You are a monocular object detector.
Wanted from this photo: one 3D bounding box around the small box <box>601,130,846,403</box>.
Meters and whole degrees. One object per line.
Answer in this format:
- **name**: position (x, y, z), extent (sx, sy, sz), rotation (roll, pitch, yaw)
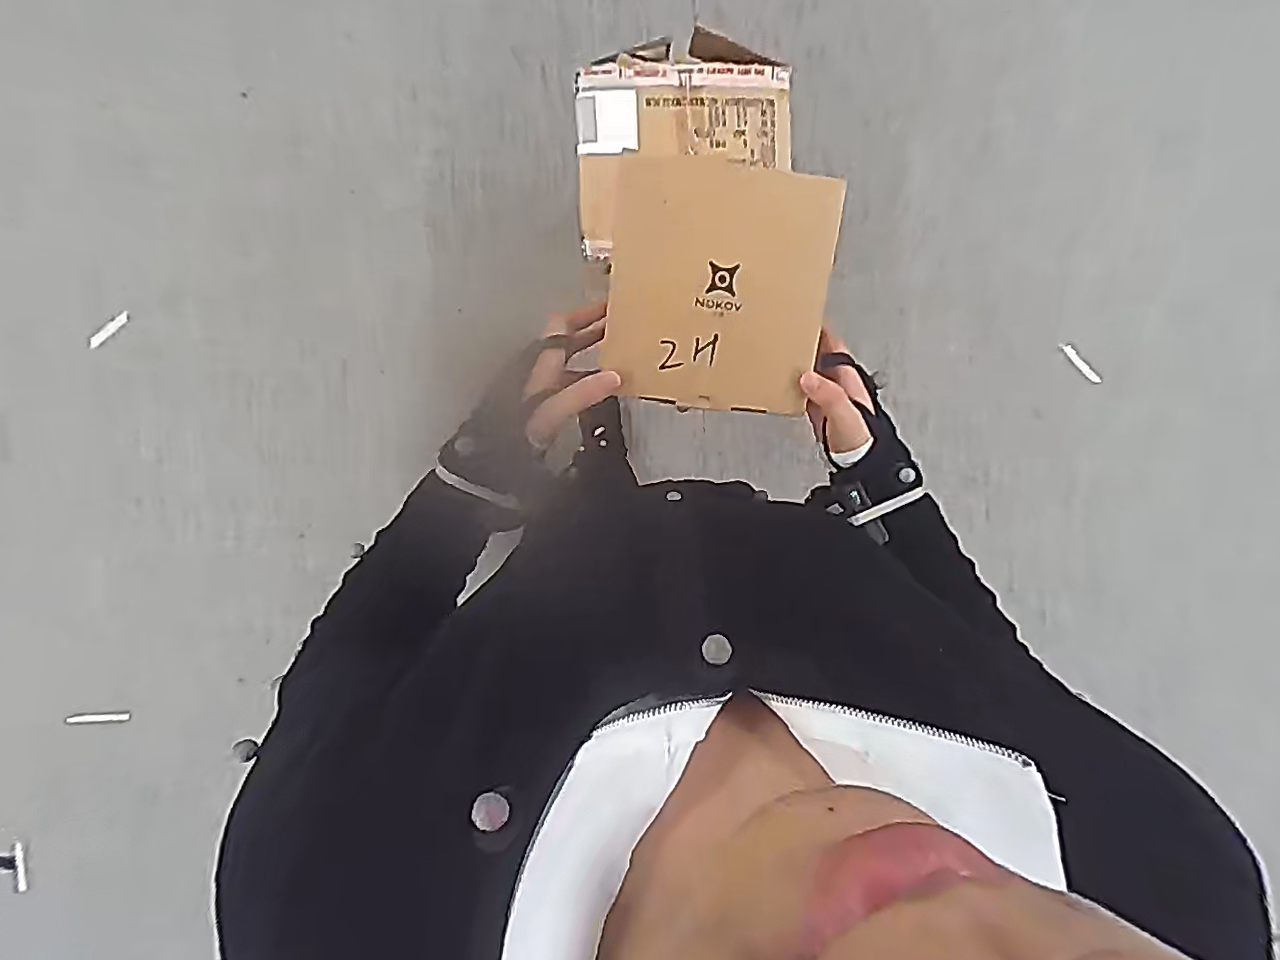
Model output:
- **small box**: position (0.056, -0.170, 0.480), extent (0.168, 0.176, 0.179), rotation (6, 103, -4)
